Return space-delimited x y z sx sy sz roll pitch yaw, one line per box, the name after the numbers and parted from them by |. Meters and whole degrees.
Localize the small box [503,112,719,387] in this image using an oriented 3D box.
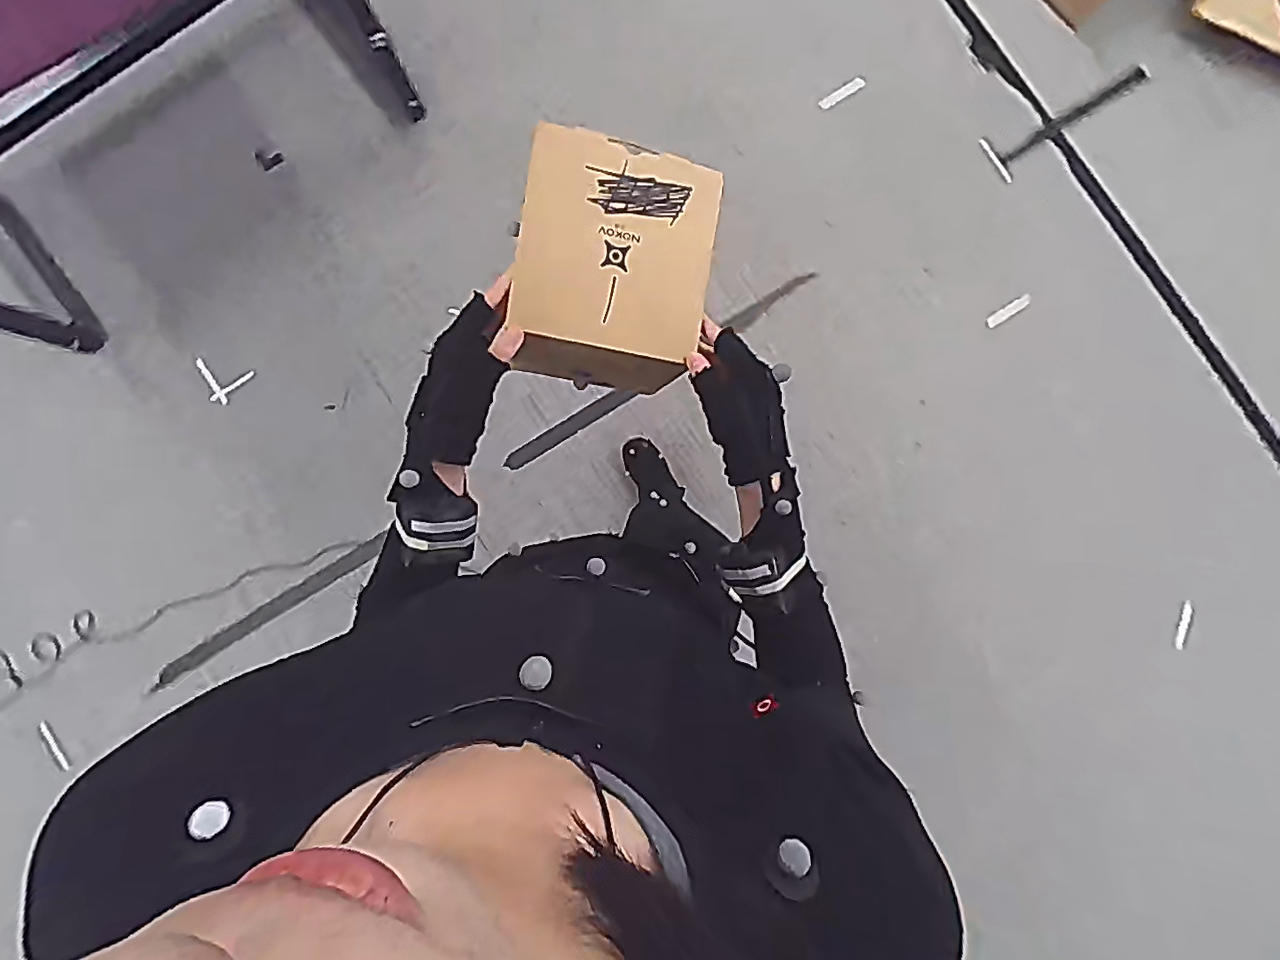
-0.037 -0.202 0.530 0.168 0.176 0.179 9 88 -12 | small box
